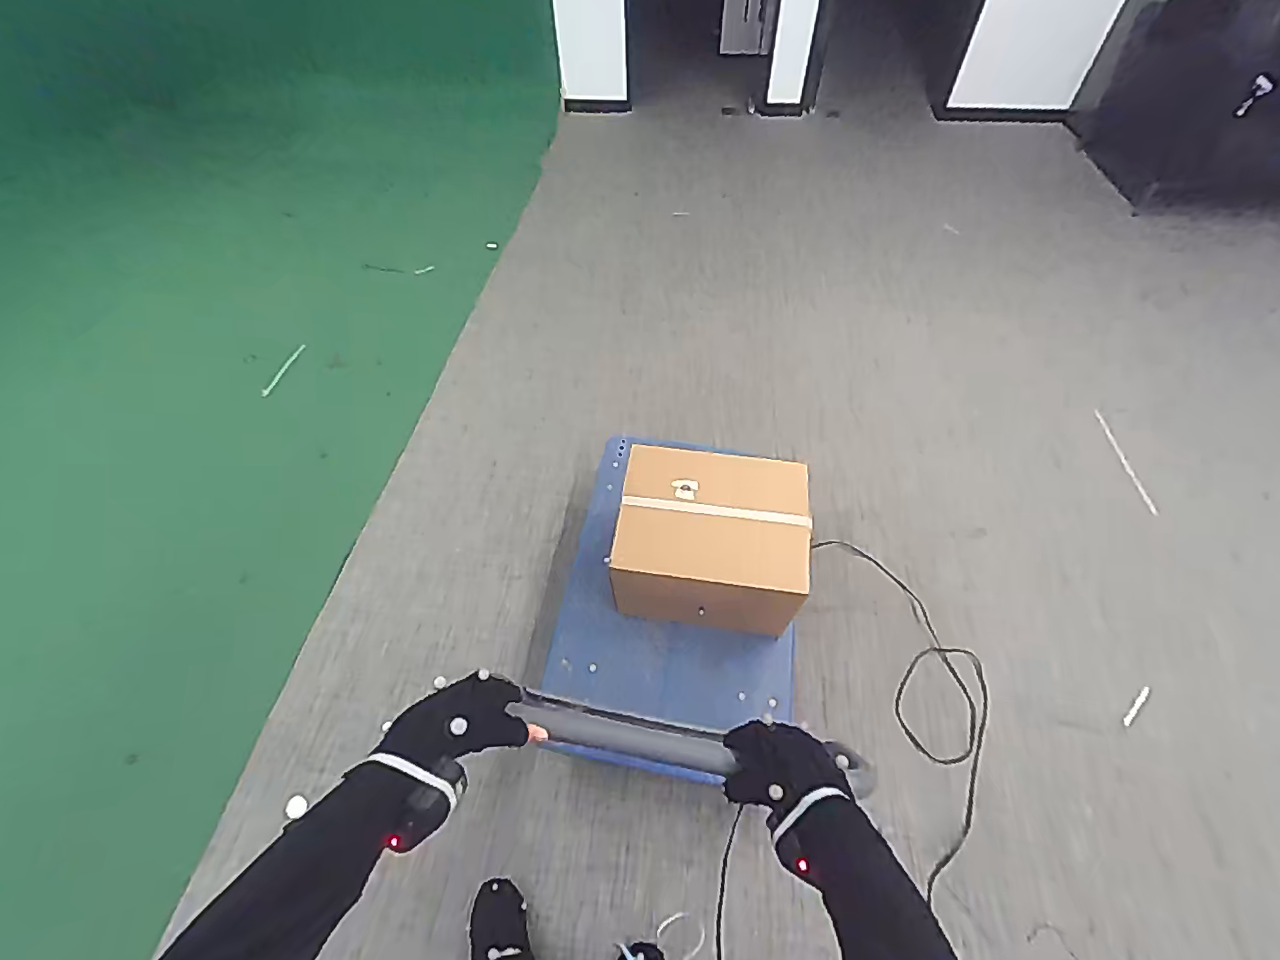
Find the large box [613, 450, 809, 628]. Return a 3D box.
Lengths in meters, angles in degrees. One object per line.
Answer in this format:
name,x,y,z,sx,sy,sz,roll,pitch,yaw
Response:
large box,0.168,0.149,1.299,0.408,0.320,0.320,5,59,7
